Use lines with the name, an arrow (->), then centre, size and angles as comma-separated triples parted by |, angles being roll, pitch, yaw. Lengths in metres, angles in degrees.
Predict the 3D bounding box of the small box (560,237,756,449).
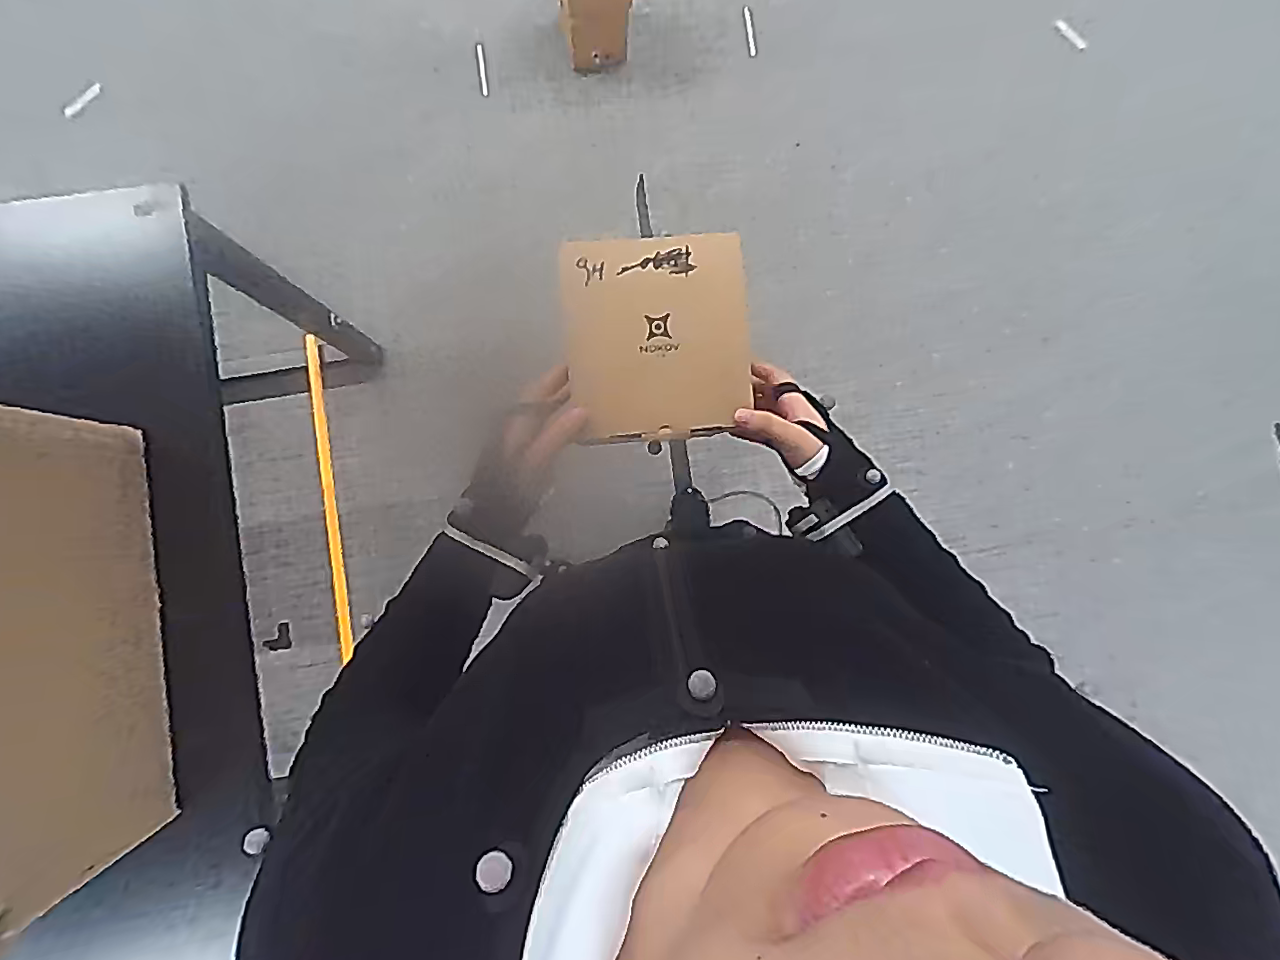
small box -> 0.013, -0.127, 0.557 | 0.168, 0.176, 0.179 | -6, 94, -4

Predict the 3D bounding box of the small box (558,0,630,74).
small box -> -0.132, -1.286, 1.502 | 0.168, 0.176, 0.179 | -15, 89, -3

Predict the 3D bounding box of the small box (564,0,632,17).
small box -> -0.118, -1.299, 1.339 | 0.179, 0.176, 0.168 | -13, 88, -4
